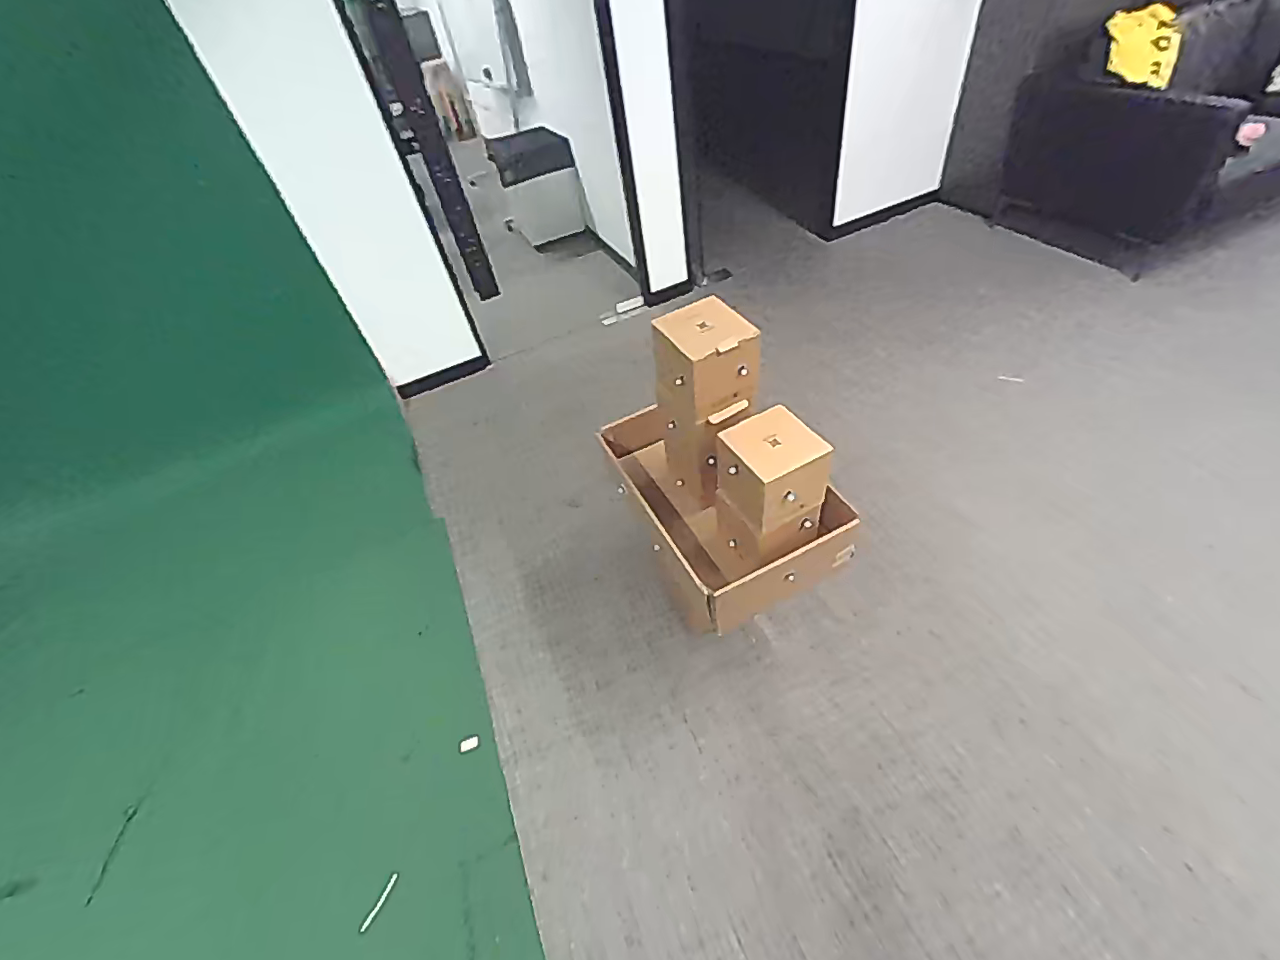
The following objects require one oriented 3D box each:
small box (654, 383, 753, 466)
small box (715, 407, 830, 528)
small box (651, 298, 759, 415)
[{"bbox_3d":[0.155,-0.156,1.309,0.168,0.176,0.179,-28,51,-15],"label":"small box"},{"bbox_3d":[0.279,-0.020,1.160,0.168,0.176,0.179,-25,48,-13],"label":"small box"},{"bbox_3d":[0.142,-0.264,1.188,0.168,0.176,0.179,-25,51,-14],"label":"small box"}]
